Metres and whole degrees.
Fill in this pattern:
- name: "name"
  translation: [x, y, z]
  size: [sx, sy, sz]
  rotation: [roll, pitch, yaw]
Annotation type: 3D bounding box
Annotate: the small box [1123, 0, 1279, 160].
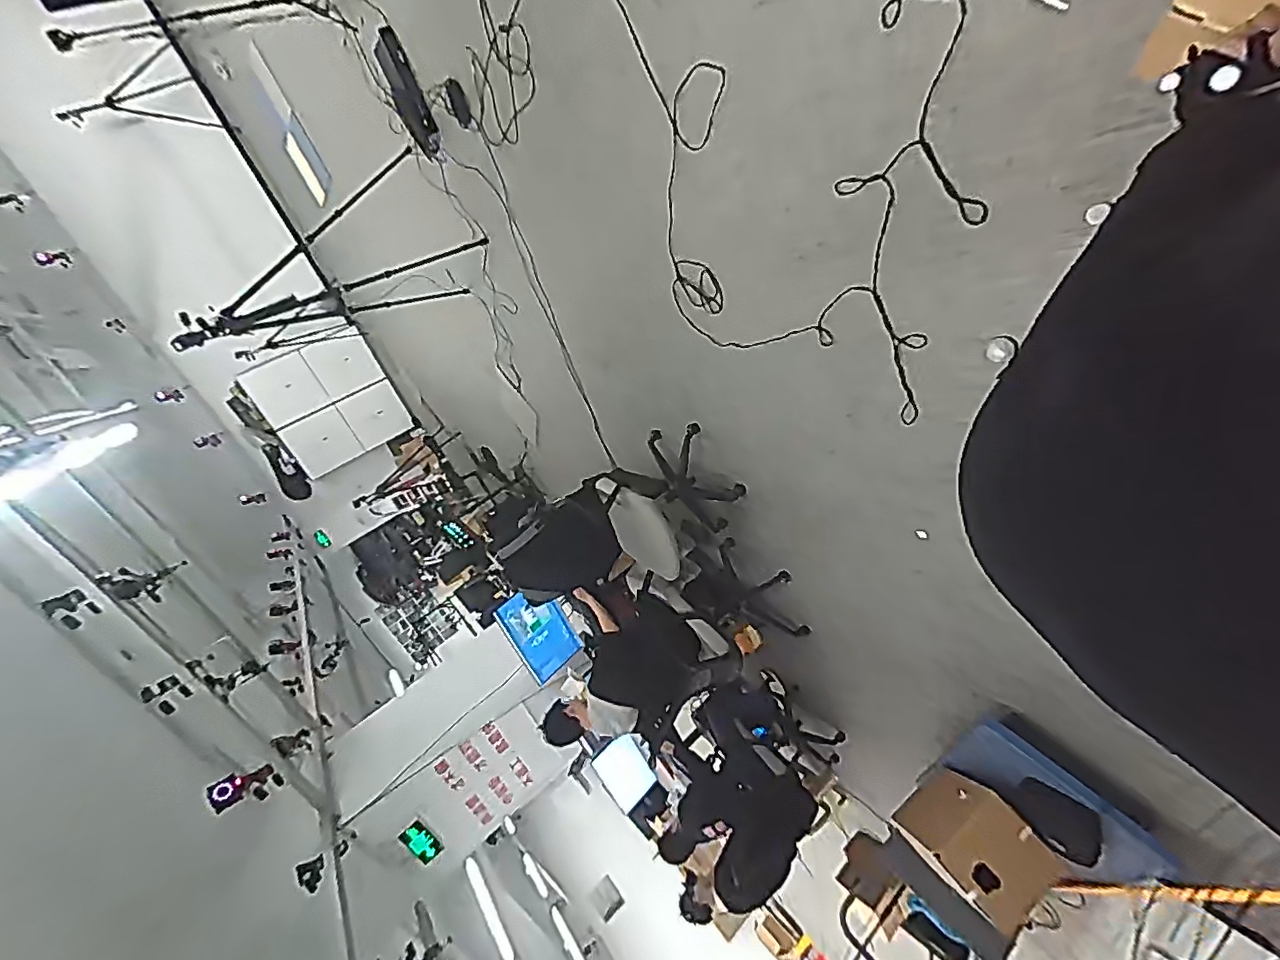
- name: "small box"
  translation: [0.598, -0.428, 0.479]
  size: [0.168, 0.179, 0.176]
  rotation: [43, 121, 16]
